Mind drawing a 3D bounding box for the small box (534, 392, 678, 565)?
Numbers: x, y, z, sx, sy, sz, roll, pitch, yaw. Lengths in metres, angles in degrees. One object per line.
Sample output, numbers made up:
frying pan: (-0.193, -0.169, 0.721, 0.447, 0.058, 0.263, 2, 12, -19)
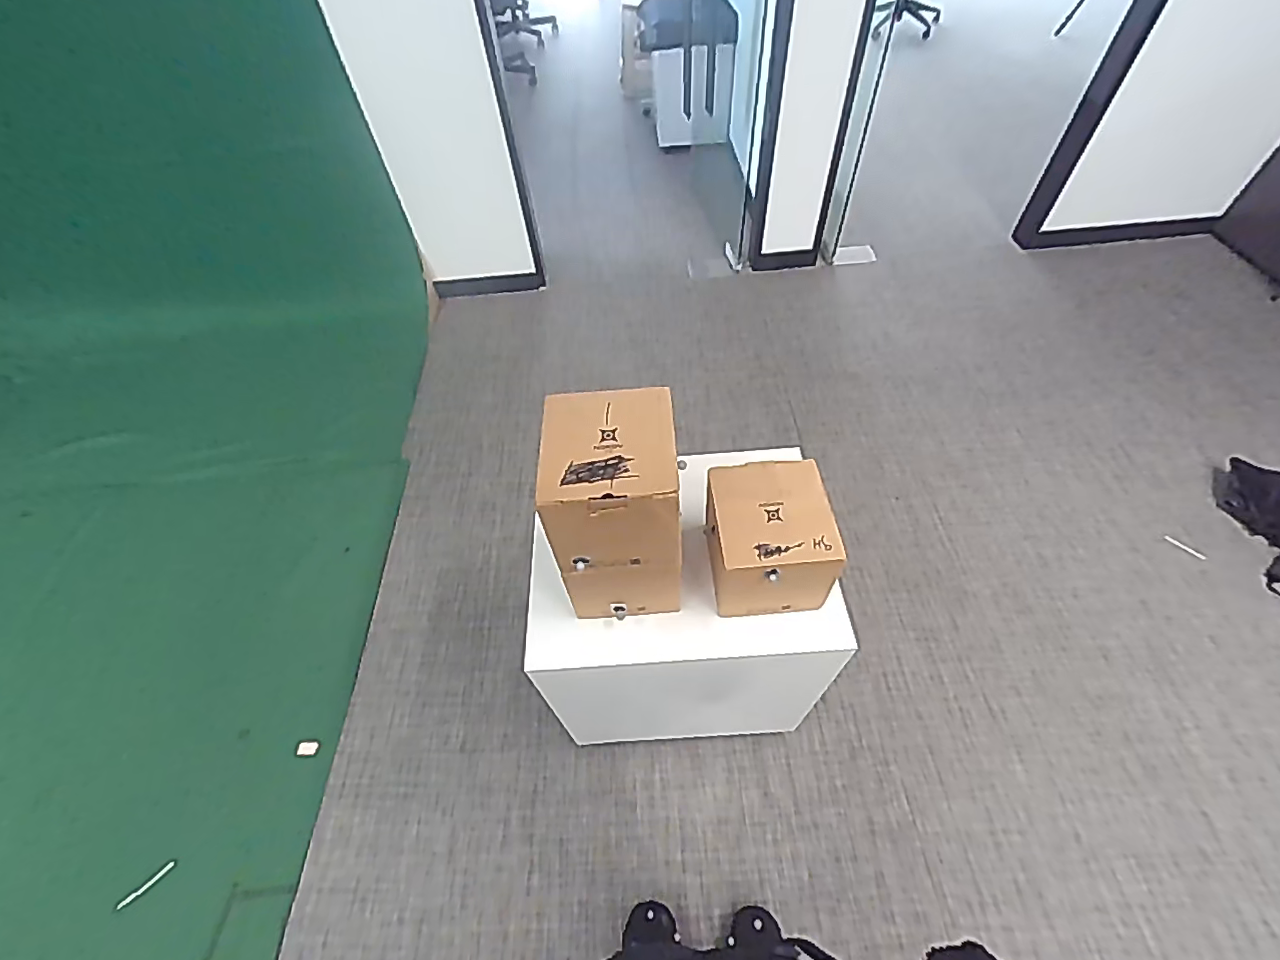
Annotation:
small box: (-0.036, 0.006, 0.727, 0.168, 0.176, 0.179, -3, 51, 2)

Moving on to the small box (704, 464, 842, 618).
small box: (0.193, 0.097, 0.844, 0.168, 0.176, 0.179, -4, 52, 1)

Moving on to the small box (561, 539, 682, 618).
small box: (-0.028, 0.096, 0.845, 0.168, 0.176, 0.179, -6, 54, 0)
